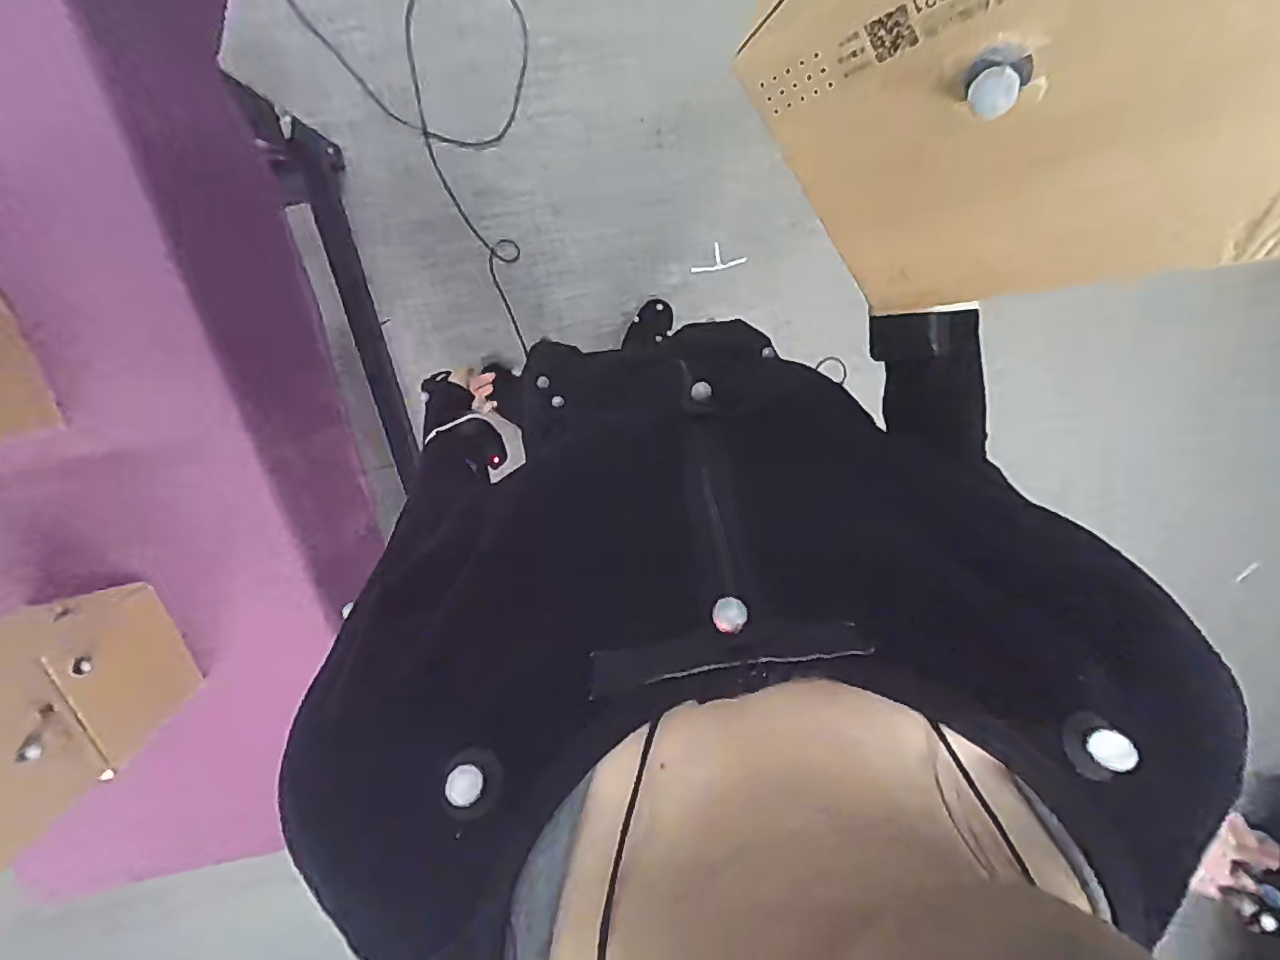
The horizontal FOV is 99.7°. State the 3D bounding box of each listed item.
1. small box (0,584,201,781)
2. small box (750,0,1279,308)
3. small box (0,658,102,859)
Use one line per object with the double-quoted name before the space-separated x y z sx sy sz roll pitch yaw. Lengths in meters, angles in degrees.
"small box" -0.718 0.259 0.684 0.168 0.176 0.179 -13 107 -1
"small box" 0.179 -0.208 0.237 0.176 0.168 0.179 37 72 -38
"small box" -0.708 0.303 0.525 0.179 0.176 0.168 -13 108 -1
